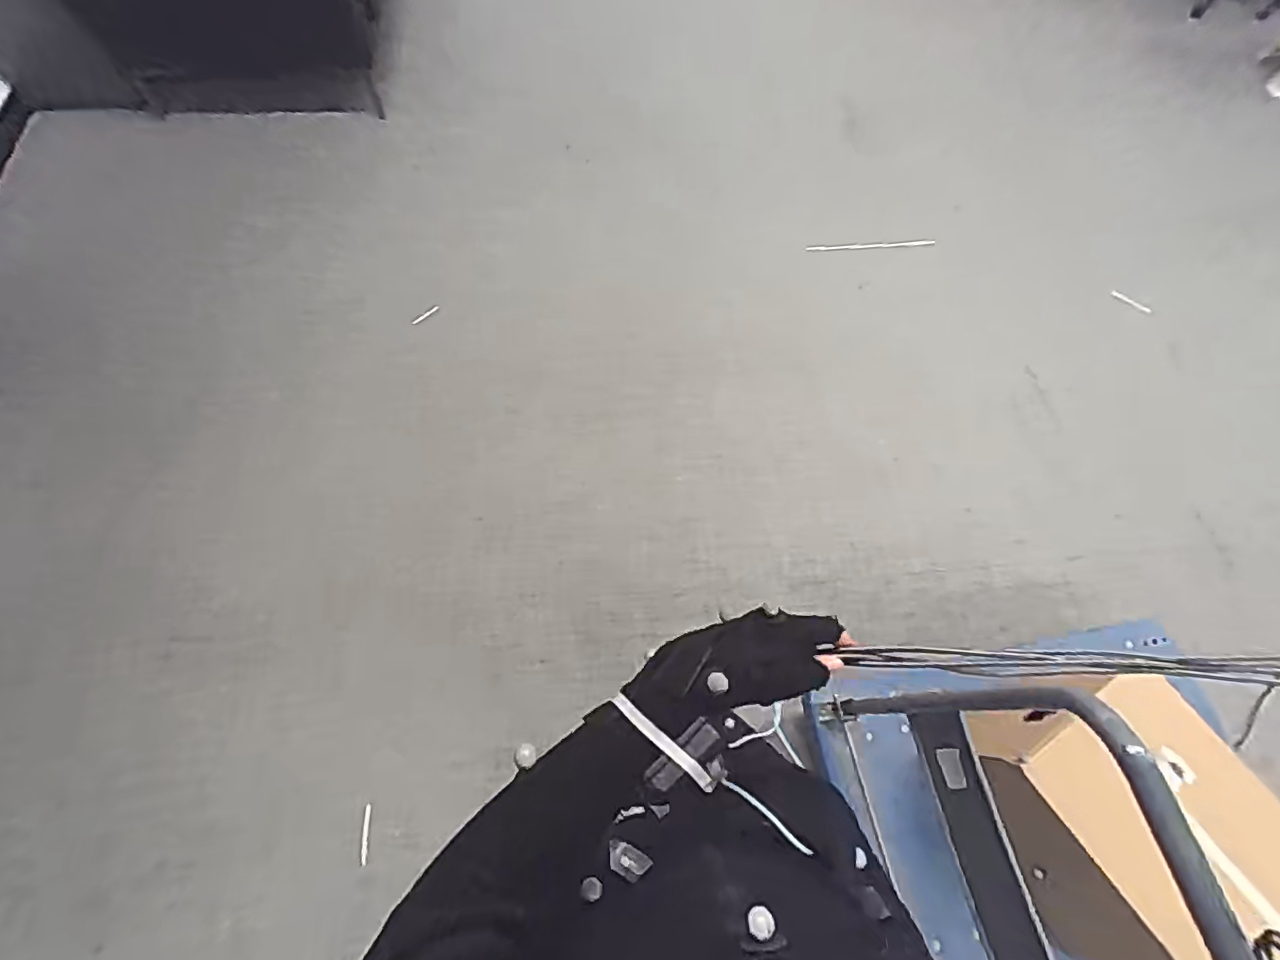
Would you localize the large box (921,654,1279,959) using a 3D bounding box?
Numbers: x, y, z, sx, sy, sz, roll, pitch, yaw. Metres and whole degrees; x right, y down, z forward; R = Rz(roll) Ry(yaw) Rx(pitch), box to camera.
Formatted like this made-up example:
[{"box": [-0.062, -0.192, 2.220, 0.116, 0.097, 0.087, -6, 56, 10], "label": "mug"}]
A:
[{"box": [0.819, 0.584, 0.967, 0.320, 0.320, 0.408, -30, 70, -14], "label": "large box"}]
